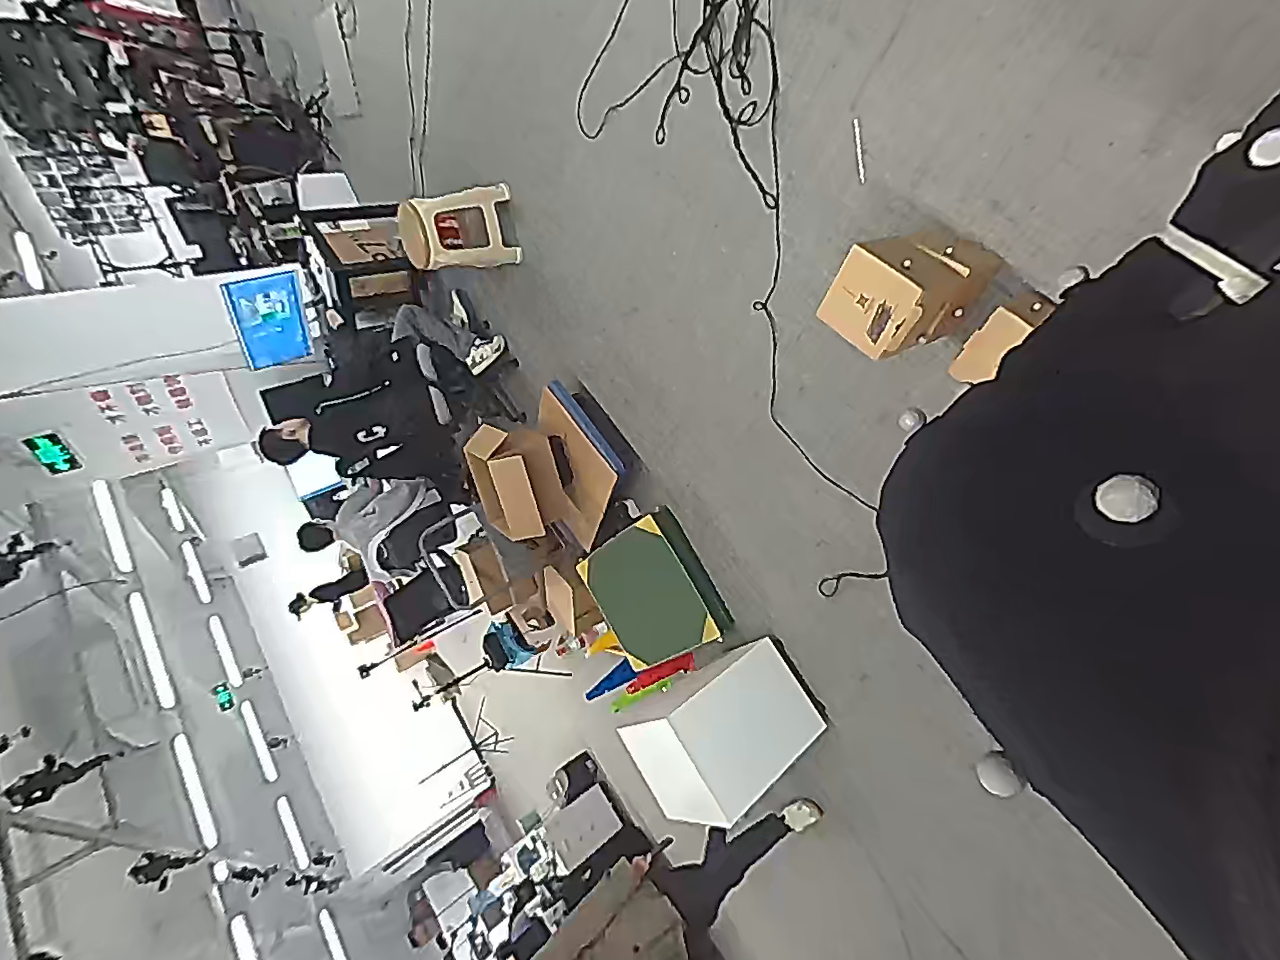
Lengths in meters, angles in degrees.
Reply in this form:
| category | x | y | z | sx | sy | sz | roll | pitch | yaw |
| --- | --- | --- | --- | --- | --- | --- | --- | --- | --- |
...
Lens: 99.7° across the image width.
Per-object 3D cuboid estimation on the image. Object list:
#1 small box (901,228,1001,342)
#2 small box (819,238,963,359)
| category | x | y | z | sx | sy | sz | roll | pitch | yaw |
| --- | --- | --- | --- | --- | --- | --- | --- | --- | --- |
| small box | 0.652 | -0.436 | 1.199 | 0.168 | 0.176 | 0.179 | 46 | 143 | 29 |
| small box | 0.518 | -0.383 | 1.118 | 0.179 | 0.176 | 0.168 | 50 | 144 | 25 |
